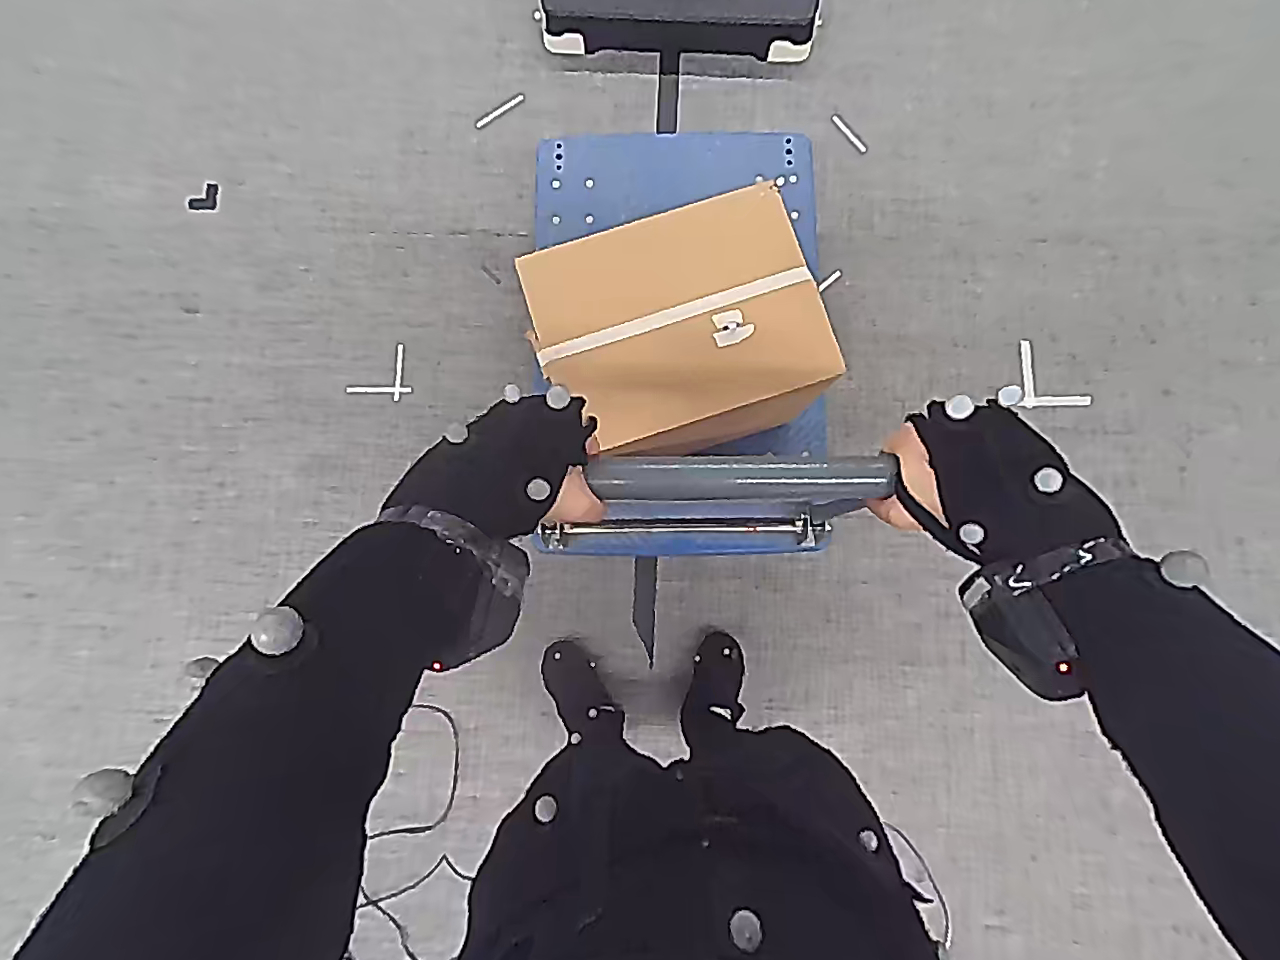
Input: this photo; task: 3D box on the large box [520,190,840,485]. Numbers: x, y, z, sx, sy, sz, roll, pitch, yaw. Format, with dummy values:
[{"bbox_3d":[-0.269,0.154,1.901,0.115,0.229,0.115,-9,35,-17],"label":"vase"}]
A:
[{"bbox_3d":[0.054,-0.212,0.933,0.408,0.320,0.320,-18,84,-3],"label":"large box"}]
